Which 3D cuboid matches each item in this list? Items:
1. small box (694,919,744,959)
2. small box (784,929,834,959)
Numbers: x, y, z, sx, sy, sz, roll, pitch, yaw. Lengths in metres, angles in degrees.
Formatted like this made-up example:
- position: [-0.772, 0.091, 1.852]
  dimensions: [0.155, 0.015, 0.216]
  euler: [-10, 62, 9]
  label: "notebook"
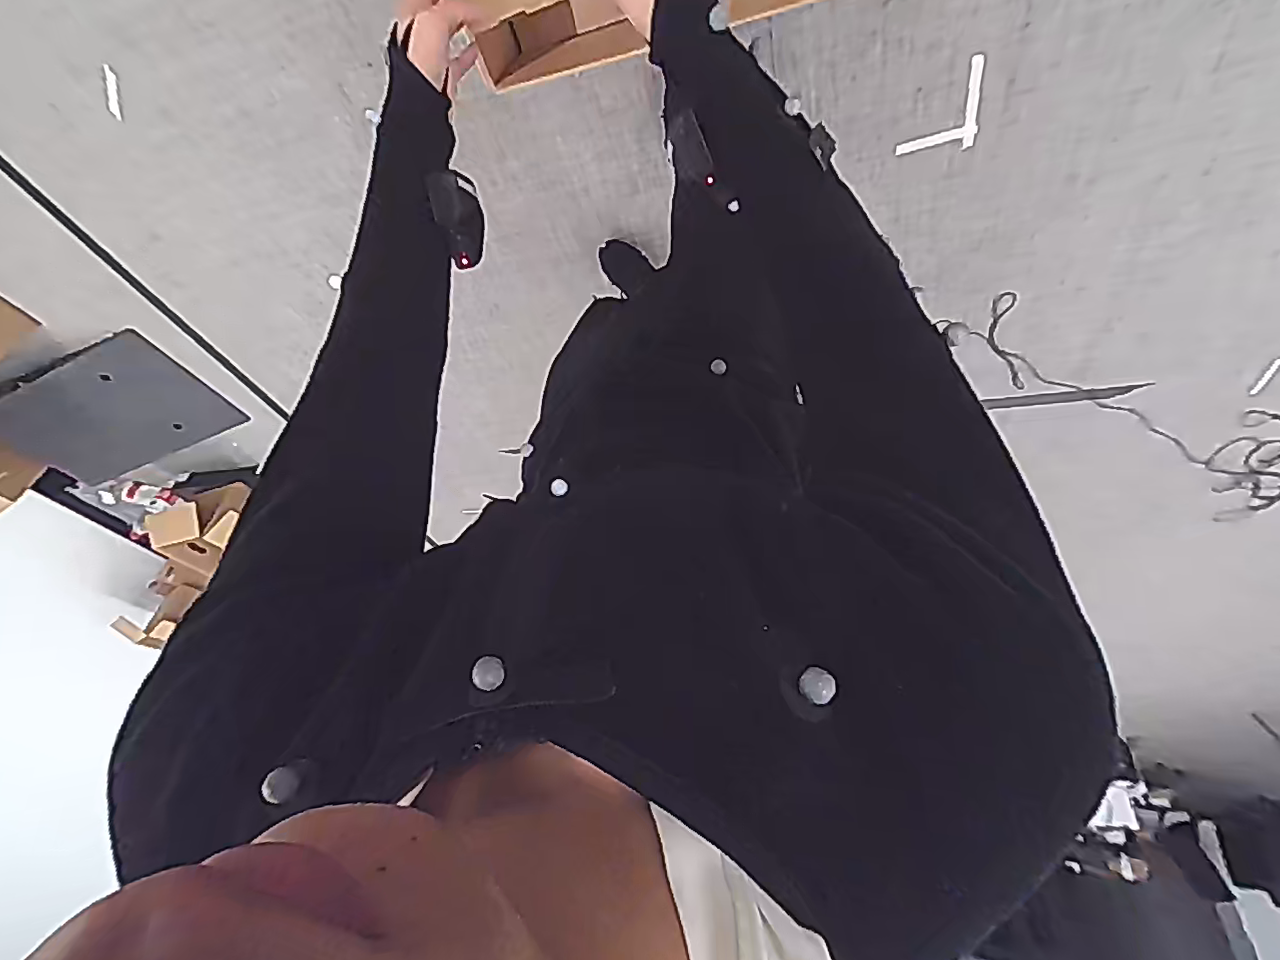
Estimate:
- position: [0.286, 1.689, 1.933]
  dimensions: [0.168, 0.176, 0.179]
  euler: [-3, 144, 14]
  label: "small box"
- position: [0.633, 1.808, 2.029]
  dimensions: [0.179, 0.176, 0.168]
  euler: [-3, 143, 16]
  label: "small box"
